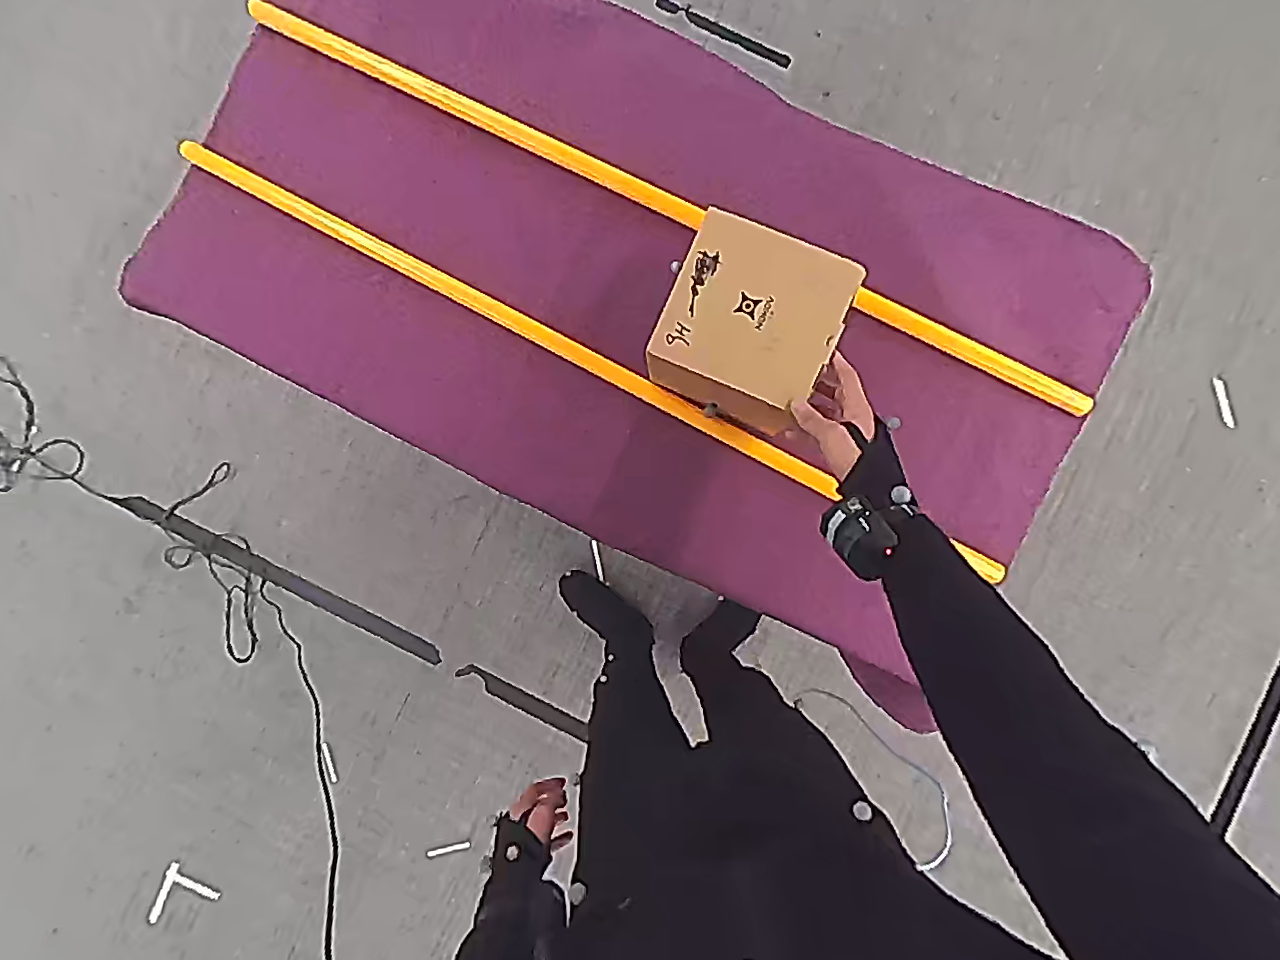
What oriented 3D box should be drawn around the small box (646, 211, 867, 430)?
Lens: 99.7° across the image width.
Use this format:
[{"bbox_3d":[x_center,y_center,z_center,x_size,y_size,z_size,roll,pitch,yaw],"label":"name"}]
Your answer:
[{"bbox_3d":[0.120,-0.165,0.623,0.179,0.176,0.168,24,90,3],"label":"small box"}]
